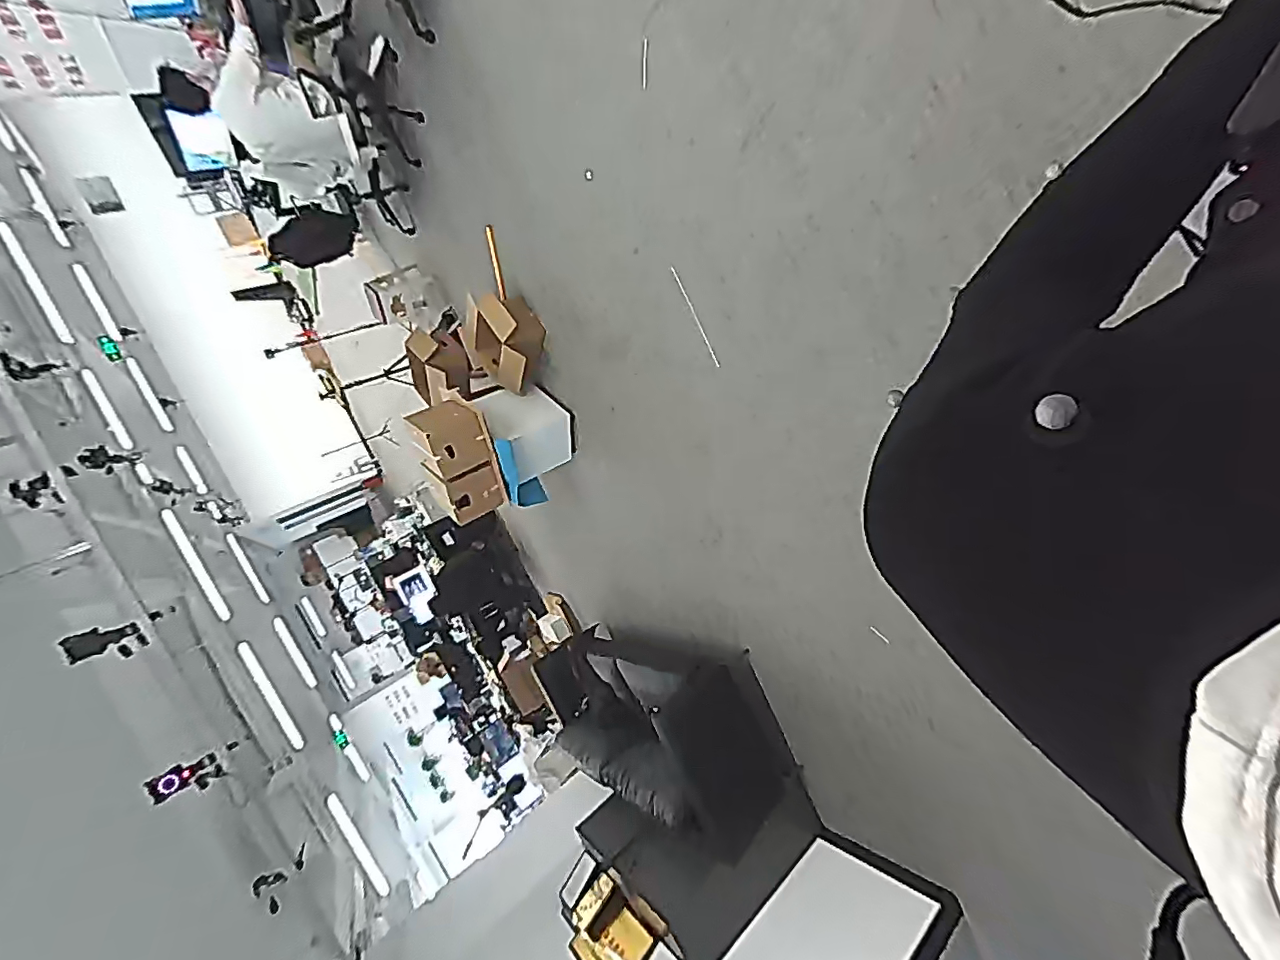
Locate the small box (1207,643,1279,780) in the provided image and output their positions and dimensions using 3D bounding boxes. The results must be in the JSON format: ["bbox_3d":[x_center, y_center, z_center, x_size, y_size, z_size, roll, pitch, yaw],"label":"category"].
[{"bbox_3d":[1.139,0.405,0.935,0.179,0.176,0.168,-10,105,59],"label":"small box"}]
